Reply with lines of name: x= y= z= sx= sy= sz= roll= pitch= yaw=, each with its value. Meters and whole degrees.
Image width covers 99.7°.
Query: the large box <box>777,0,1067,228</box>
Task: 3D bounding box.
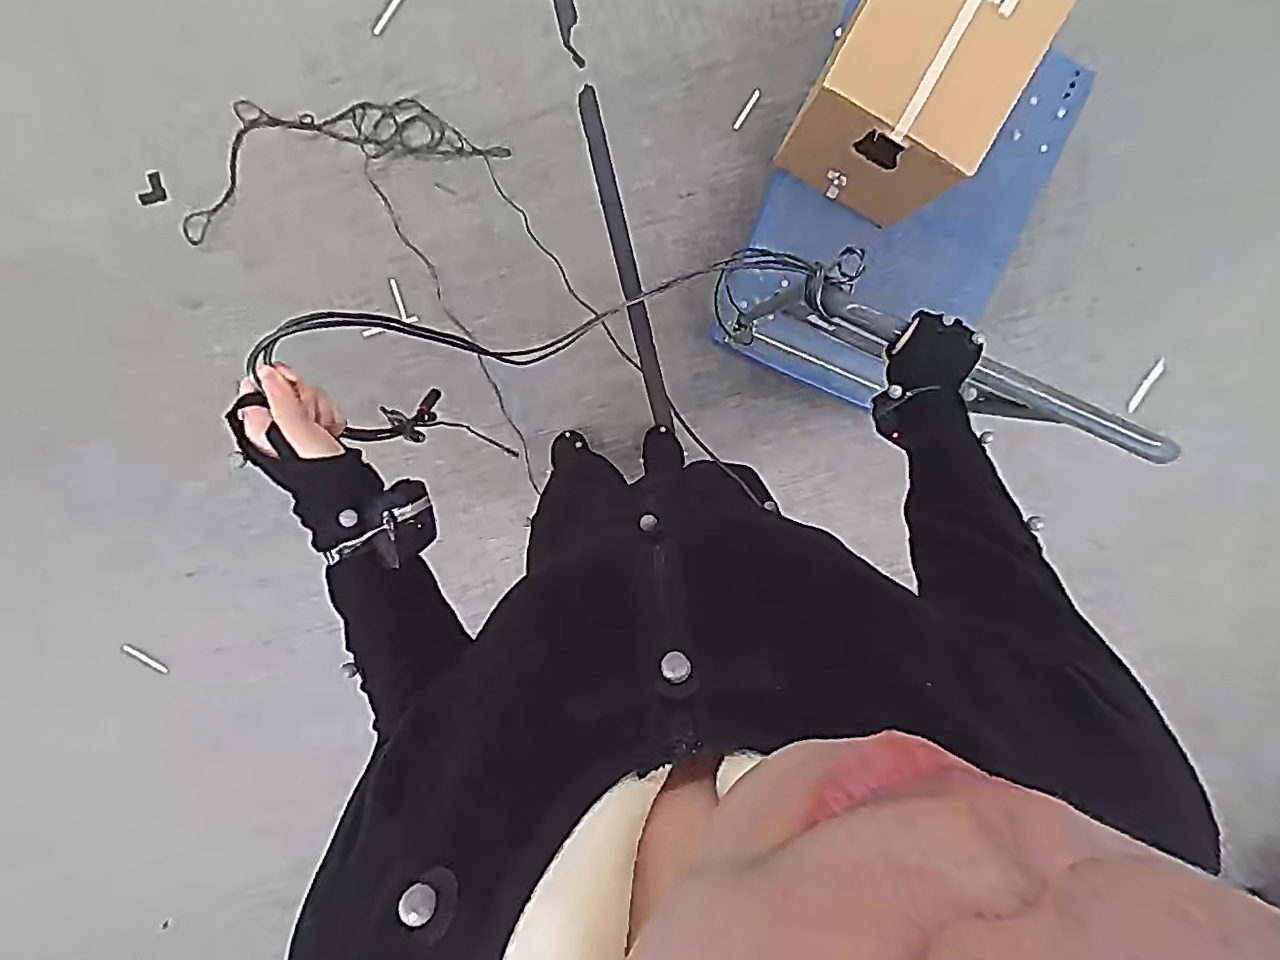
large box: x=0.526 y=-0.792 z=1.058 sx=0.320 sy=0.320 sz=0.408 roll=27 pitch=96 yaw=-6
